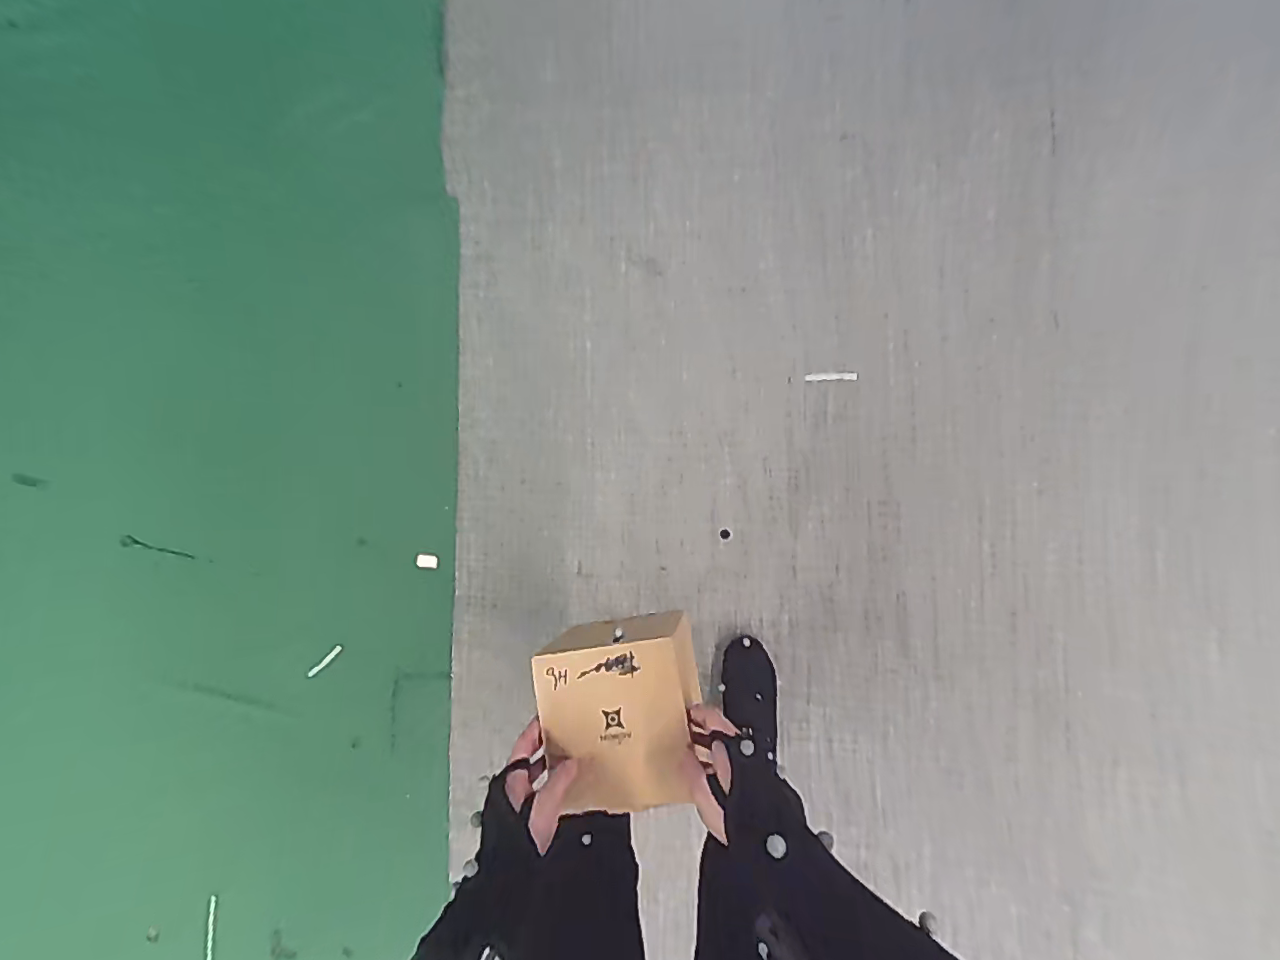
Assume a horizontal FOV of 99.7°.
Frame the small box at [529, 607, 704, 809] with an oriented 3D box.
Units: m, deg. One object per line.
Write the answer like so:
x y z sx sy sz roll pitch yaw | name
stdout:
-0.018 0.267 0.664 0.168 0.176 0.179 -10 85 9 | small box
